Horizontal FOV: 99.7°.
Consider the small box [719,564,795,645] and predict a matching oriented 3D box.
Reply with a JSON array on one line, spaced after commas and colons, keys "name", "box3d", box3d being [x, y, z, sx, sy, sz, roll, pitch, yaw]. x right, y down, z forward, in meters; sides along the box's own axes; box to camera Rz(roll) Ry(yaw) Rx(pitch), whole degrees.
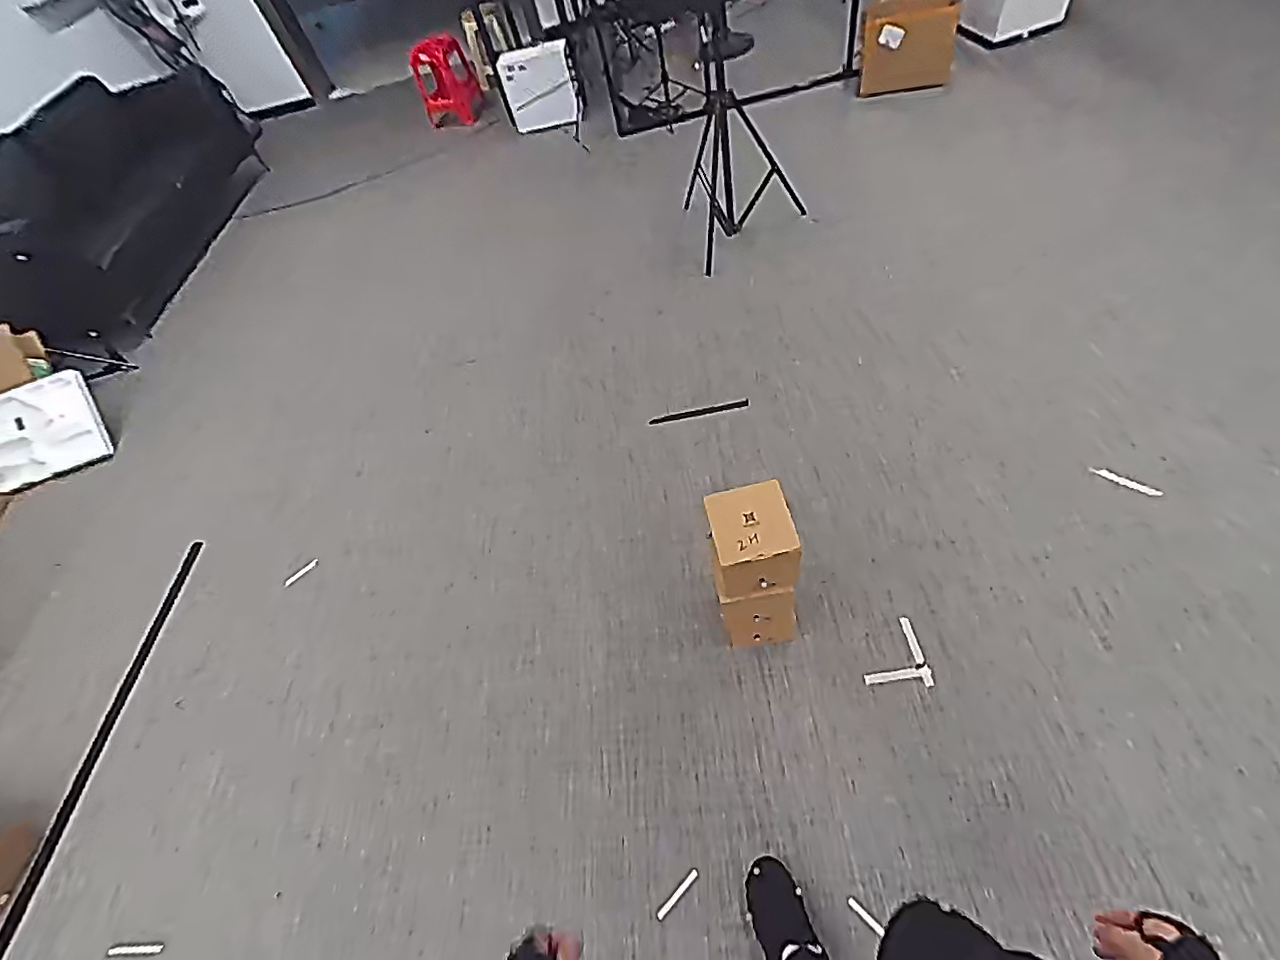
[{"name": "small box", "box3d": [0.309, 0.319, 1.441, 0.168, 0.176, 0.179, -11, 54, 6]}]

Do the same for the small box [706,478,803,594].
[{"name": "small box", "box3d": [0.247, 0.126, 1.182, 0.168, 0.176, 0.179, -14, 54, 5]}]
